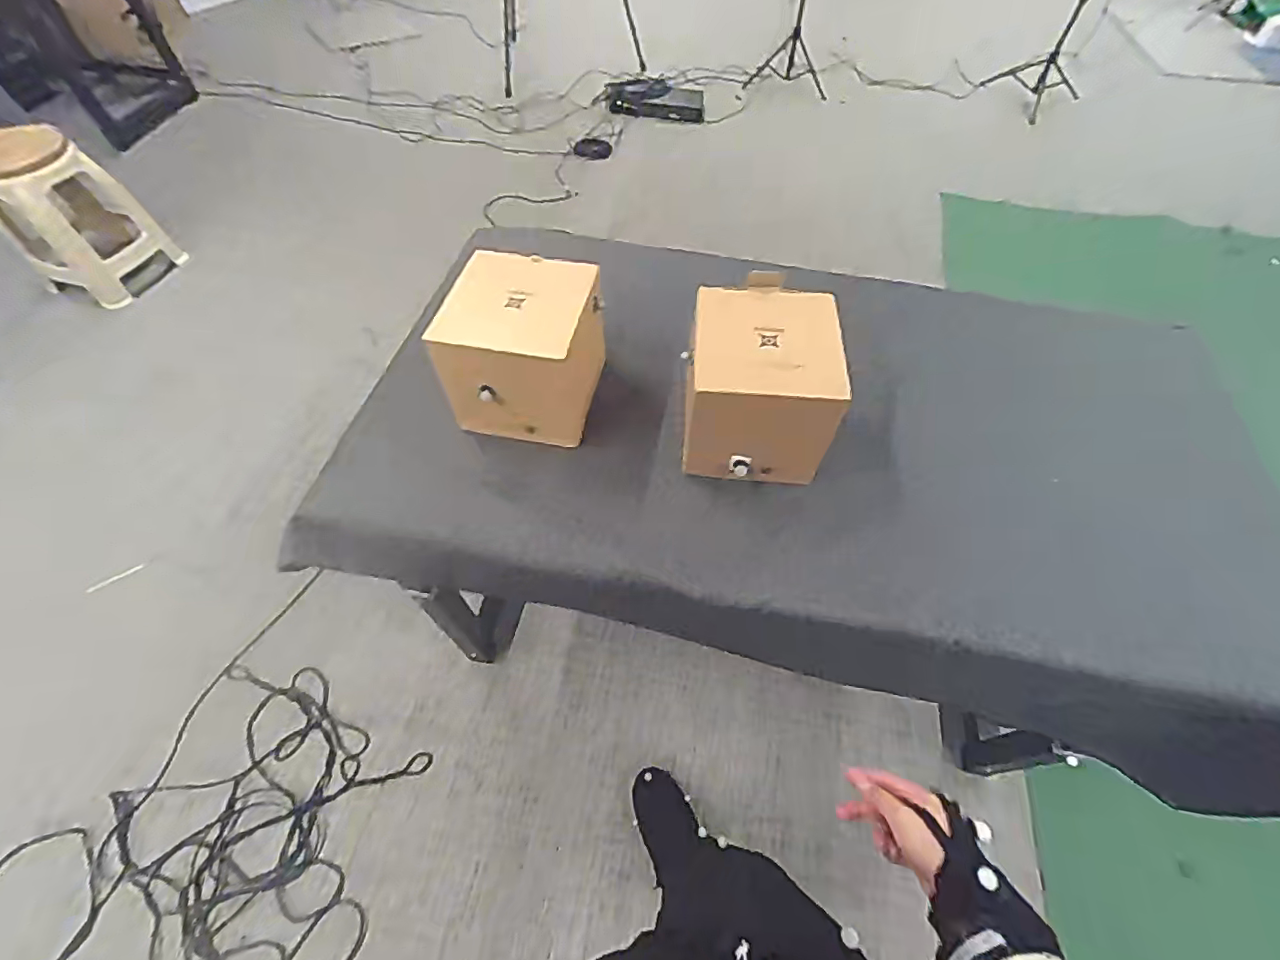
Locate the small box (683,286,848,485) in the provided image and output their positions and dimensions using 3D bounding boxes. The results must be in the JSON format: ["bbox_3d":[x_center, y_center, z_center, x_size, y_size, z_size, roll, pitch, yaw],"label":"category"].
[{"bbox_3d":[0.142,-0.115,0.675,0.168,0.176,0.179,3,57,3],"label":"small box"}]

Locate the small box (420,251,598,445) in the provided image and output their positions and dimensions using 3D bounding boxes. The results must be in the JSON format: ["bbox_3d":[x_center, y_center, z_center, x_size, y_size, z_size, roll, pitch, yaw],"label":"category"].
[{"bbox_3d":[-0.152,-0.167,0.705,0.168,0.176,0.179,9,56,5],"label":"small box"}]
